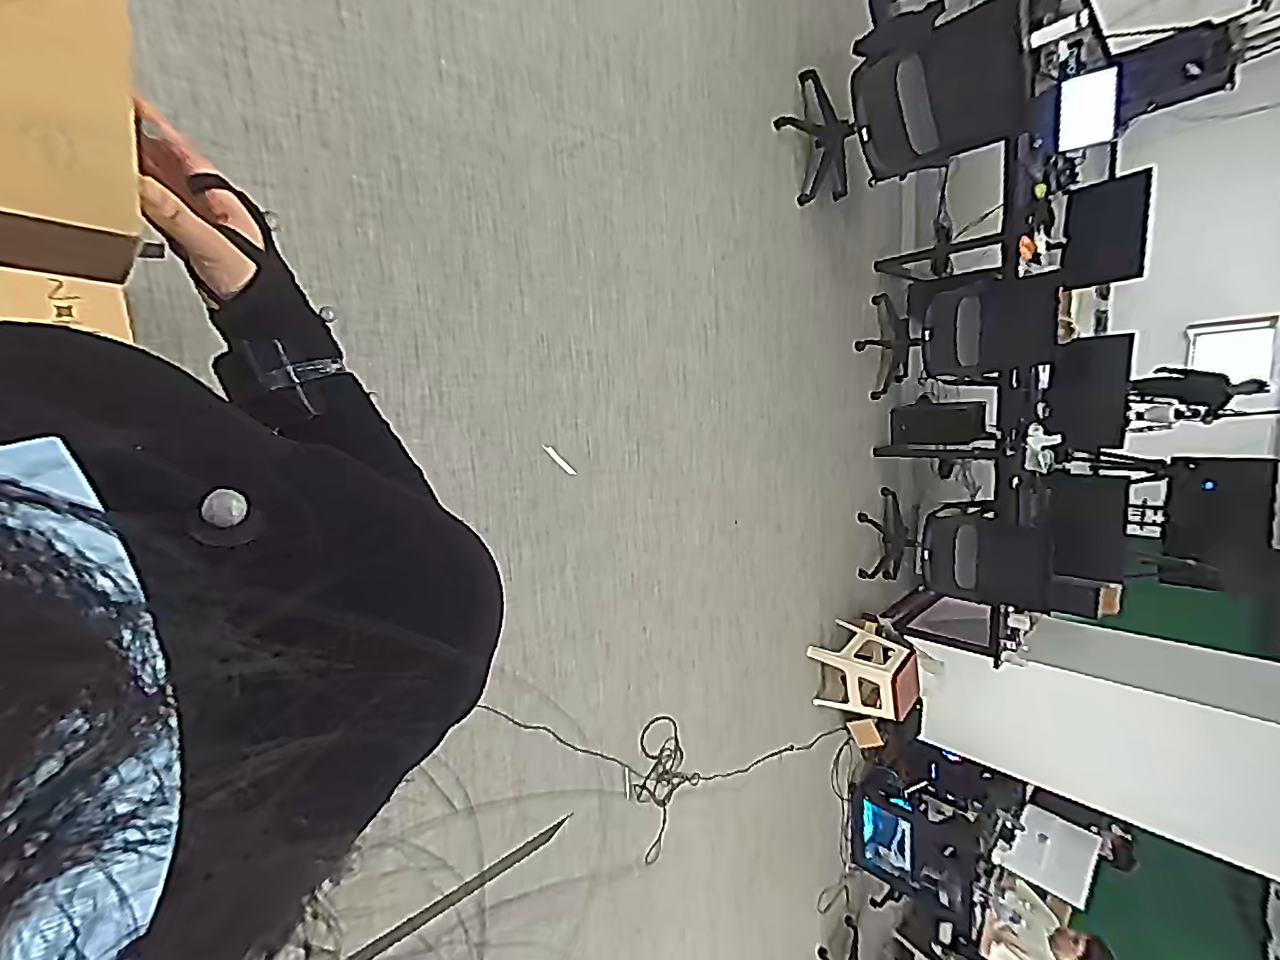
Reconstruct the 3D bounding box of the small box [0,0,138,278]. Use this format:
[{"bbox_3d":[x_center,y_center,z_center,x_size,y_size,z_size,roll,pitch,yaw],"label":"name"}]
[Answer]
[{"bbox_3d":[-0.394,-0.223,0.295,0.168,0.176,0.179,-5,98,-47],"label":"small box"}]
